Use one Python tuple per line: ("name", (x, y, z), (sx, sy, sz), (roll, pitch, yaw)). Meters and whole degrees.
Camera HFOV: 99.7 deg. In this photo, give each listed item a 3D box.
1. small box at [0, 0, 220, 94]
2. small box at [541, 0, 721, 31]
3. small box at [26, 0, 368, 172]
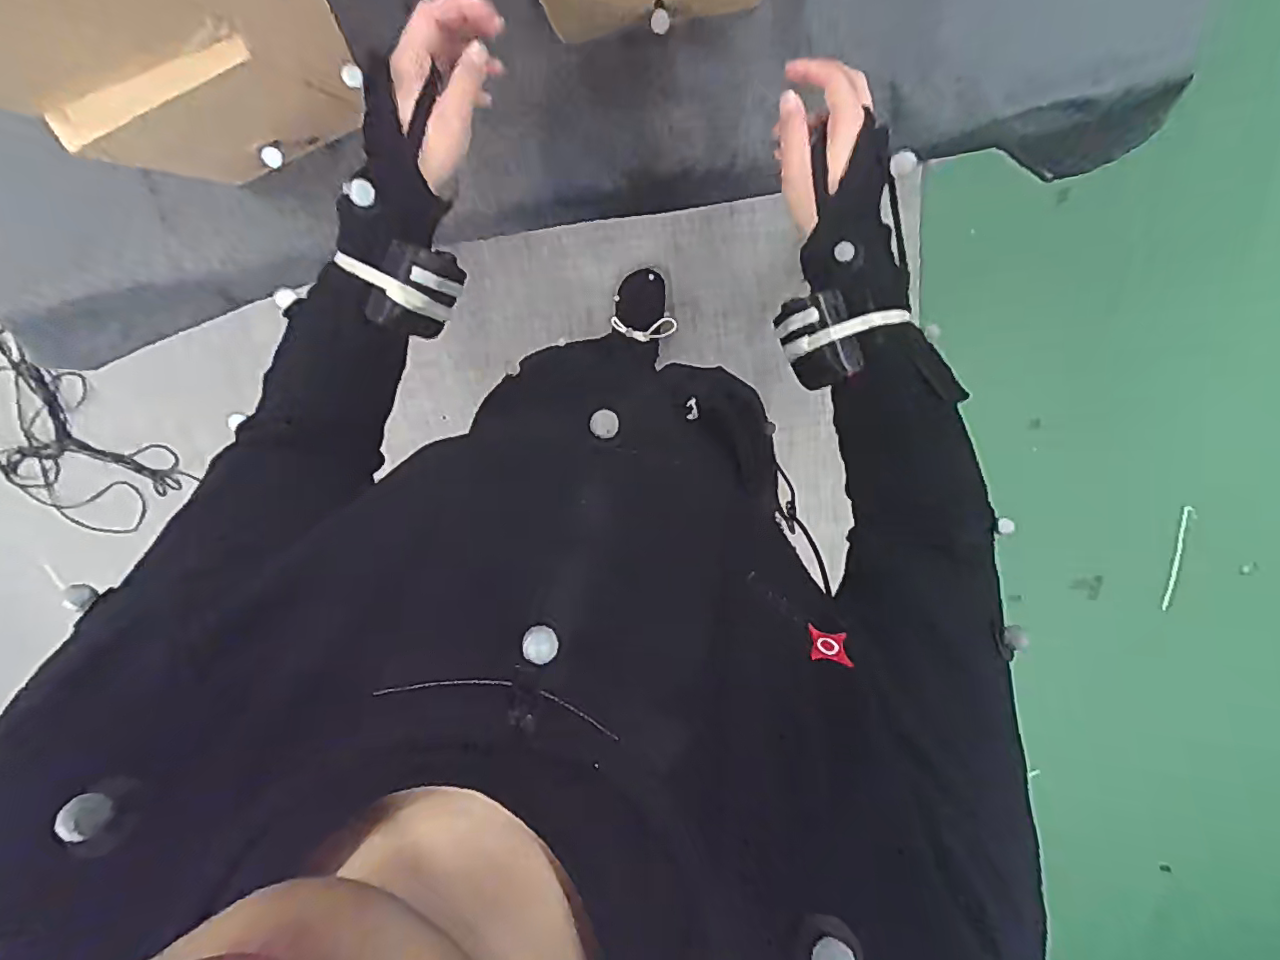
("small box", (-0.362, -0.317, 0.255), (0.179, 0.176, 0.168), (-13, 112, 8))
("small box", (-0.002, -0.440, 0.357), (0.179, 0.176, 0.168), (-7, 111, 6))
("small box", (-0.354, -0.365, 0.411), (0.168, 0.176, 0.179), (-17, 111, 10))
